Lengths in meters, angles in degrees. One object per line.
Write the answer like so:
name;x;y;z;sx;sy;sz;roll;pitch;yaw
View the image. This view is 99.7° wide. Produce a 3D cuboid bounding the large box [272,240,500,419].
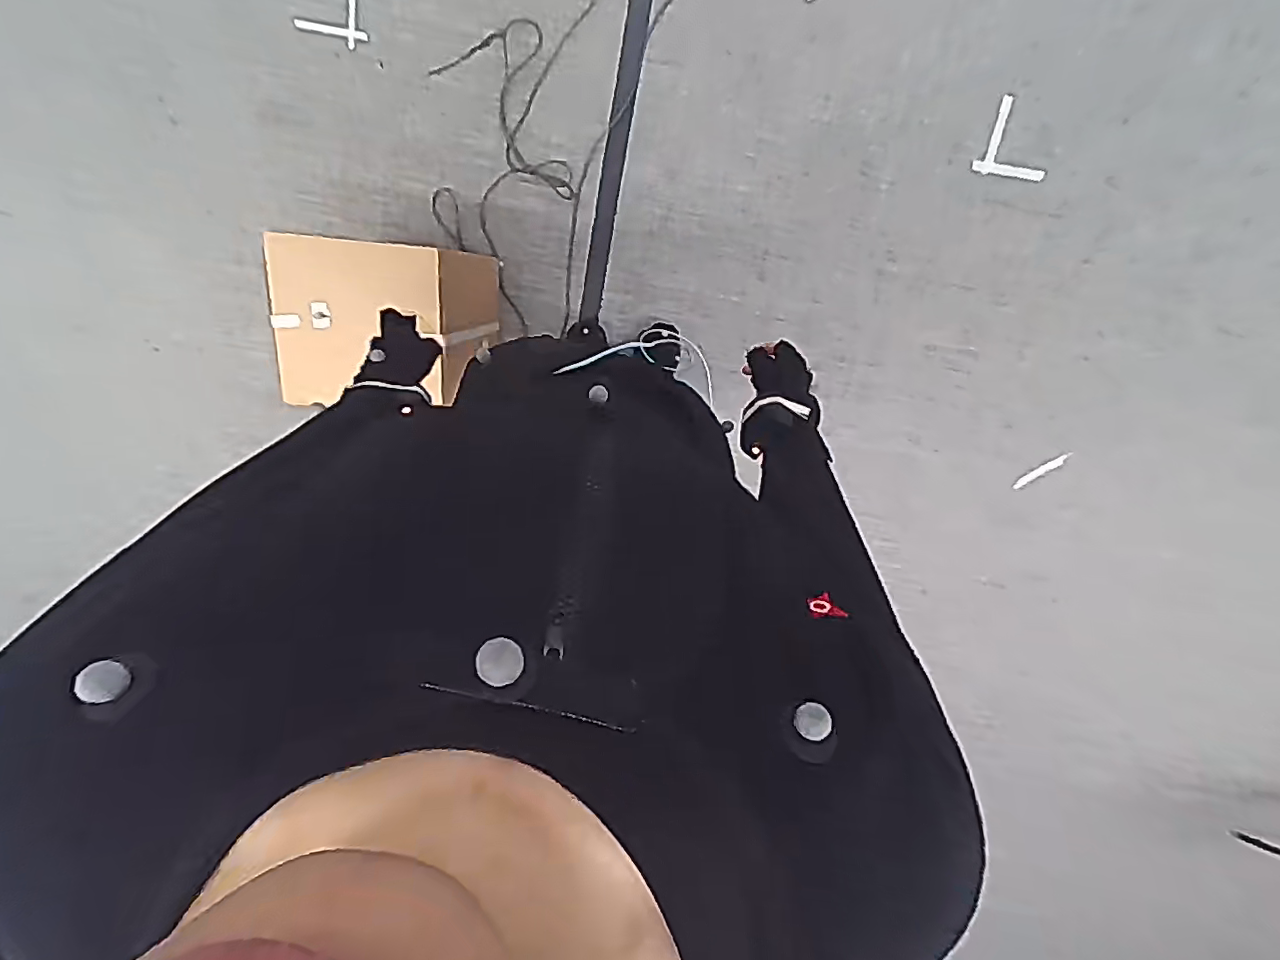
large box;-0.518;-0.343;1.193;0.320;0.408;0.320;6;110;-2
